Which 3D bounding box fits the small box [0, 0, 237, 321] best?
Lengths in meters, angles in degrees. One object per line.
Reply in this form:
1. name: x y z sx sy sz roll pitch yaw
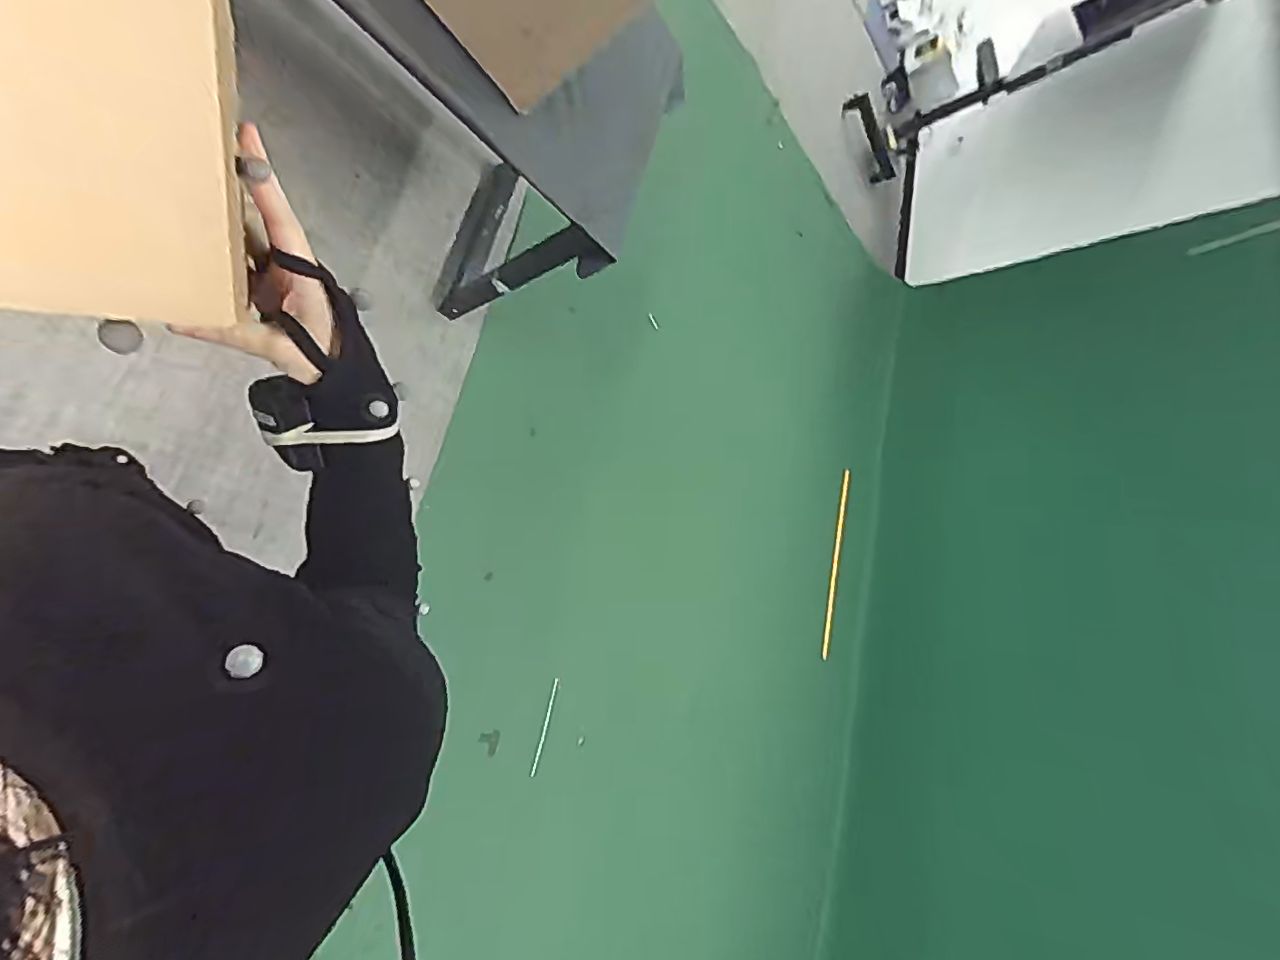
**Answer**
1. small box: -0.285 -0.169 0.231 0.179 0.176 0.168 -3 110 -34
